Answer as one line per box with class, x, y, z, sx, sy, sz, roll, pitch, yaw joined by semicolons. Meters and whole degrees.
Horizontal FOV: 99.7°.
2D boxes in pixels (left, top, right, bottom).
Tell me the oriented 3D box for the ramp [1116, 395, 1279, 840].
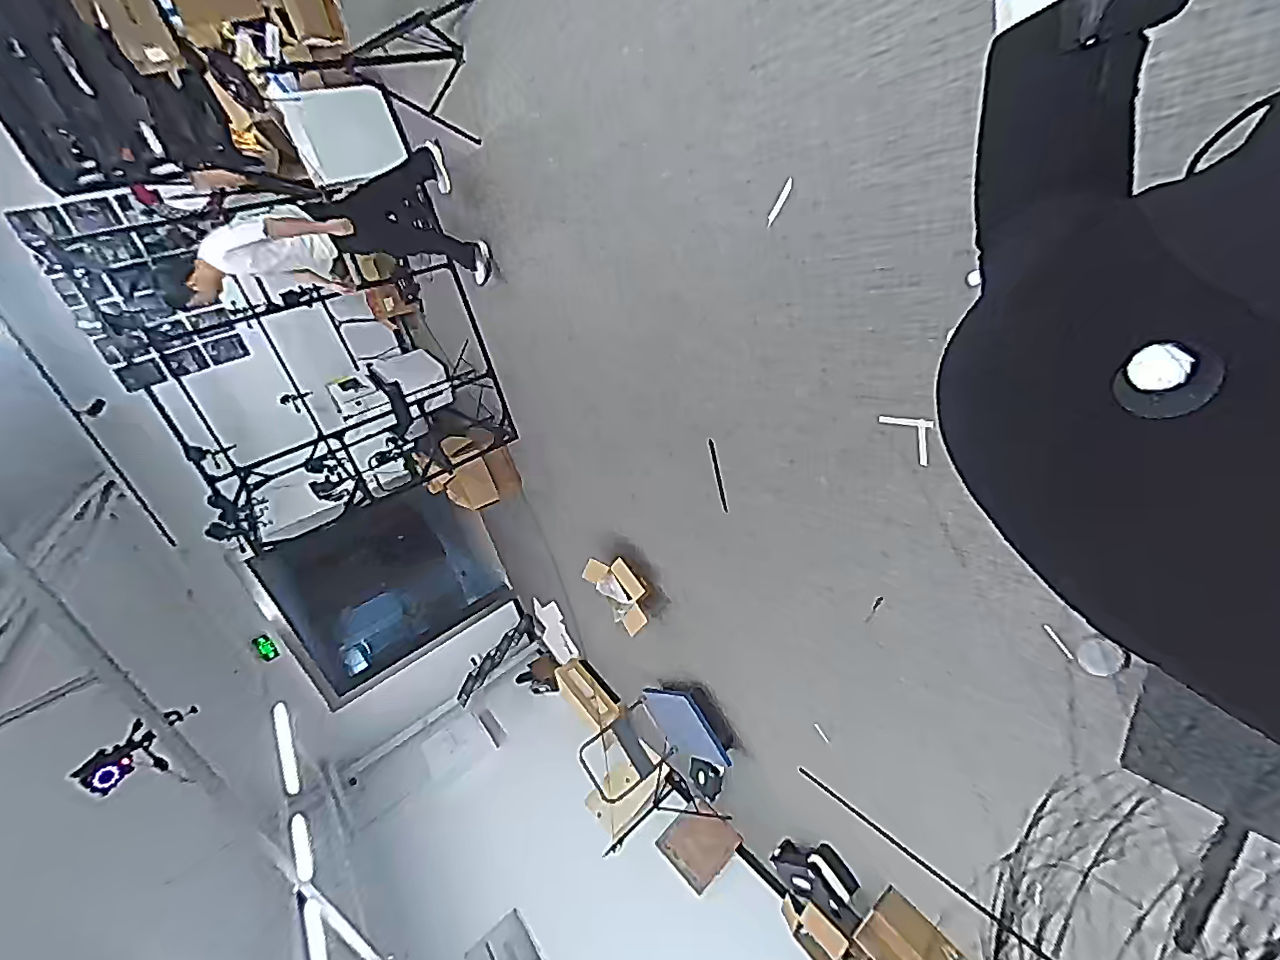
ramp;1.384;0.339;1.105;0.509;0.206;0.991;20;132;52
